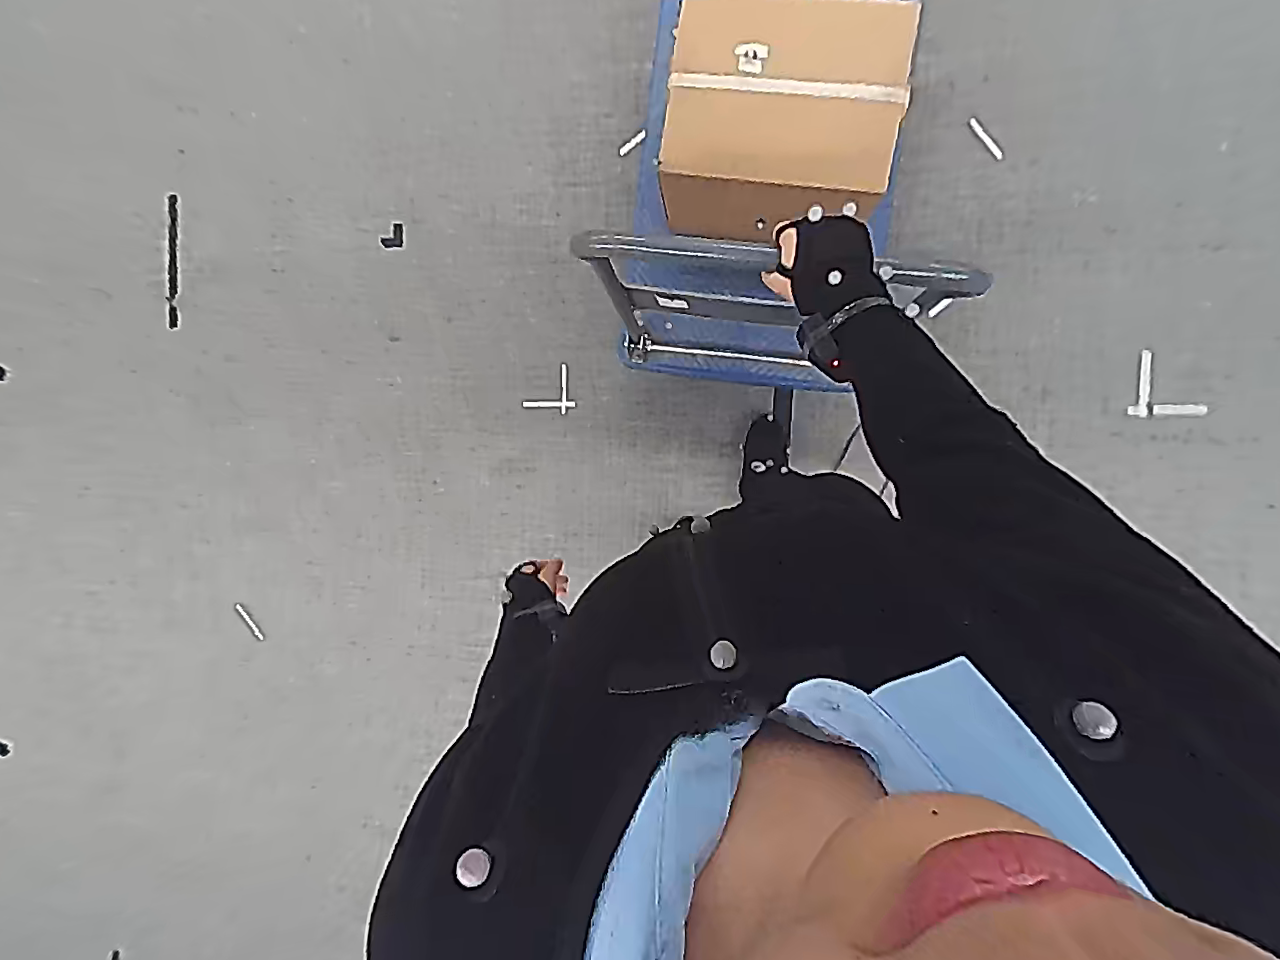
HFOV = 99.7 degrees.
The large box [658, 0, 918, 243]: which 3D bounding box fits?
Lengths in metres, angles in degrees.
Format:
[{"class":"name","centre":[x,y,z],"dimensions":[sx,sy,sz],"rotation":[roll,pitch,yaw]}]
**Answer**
[{"class":"large box","centre":[0.271,-0.691,1.075],"dimensions":[0.408,0.320,0.320],"rotation":[9,95,8]}]
